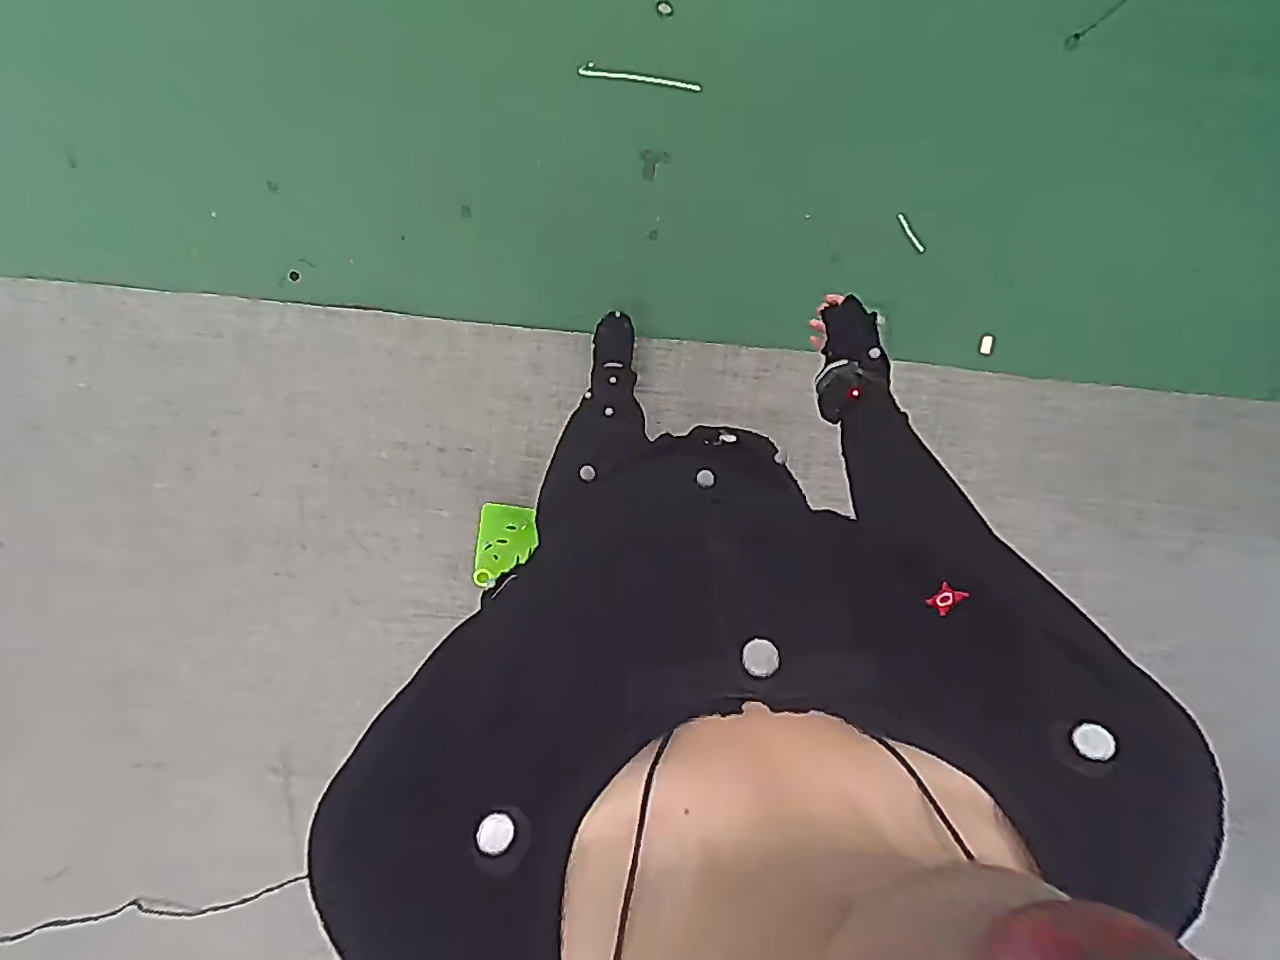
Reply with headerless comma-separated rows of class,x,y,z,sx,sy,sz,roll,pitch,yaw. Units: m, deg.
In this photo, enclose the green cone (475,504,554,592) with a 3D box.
green cone,-0.339,0.192,1.322,0.200,0.368,0.202,7,96,-2
